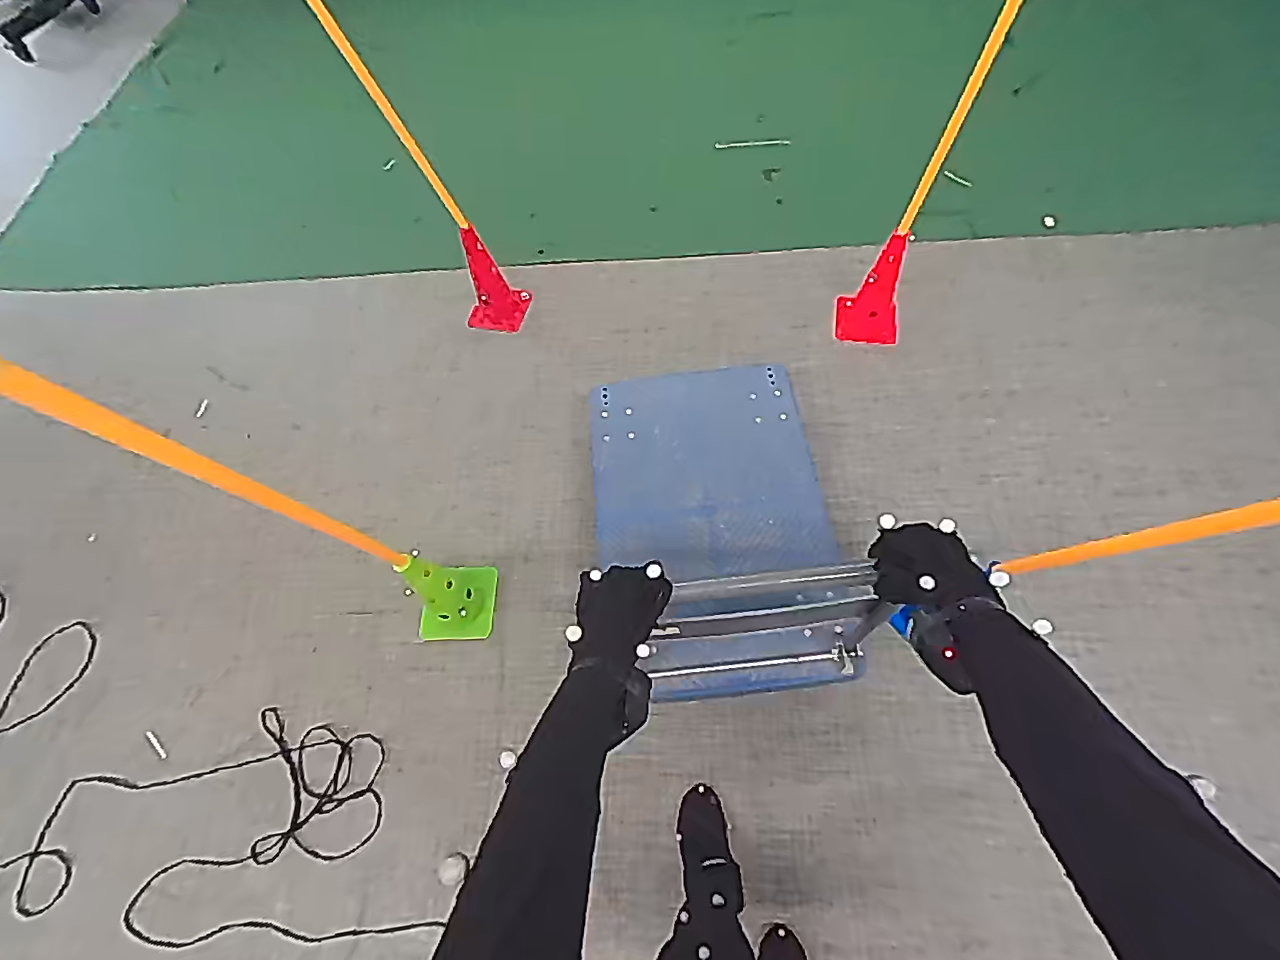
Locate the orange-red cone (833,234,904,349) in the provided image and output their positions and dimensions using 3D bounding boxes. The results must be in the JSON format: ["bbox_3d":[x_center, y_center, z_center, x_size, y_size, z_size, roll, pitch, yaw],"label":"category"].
[{"bbox_3d":[0.748,-0.605,1.687,0.198,0.360,0.199,8,64,10],"label":"orange-red cone"}]
